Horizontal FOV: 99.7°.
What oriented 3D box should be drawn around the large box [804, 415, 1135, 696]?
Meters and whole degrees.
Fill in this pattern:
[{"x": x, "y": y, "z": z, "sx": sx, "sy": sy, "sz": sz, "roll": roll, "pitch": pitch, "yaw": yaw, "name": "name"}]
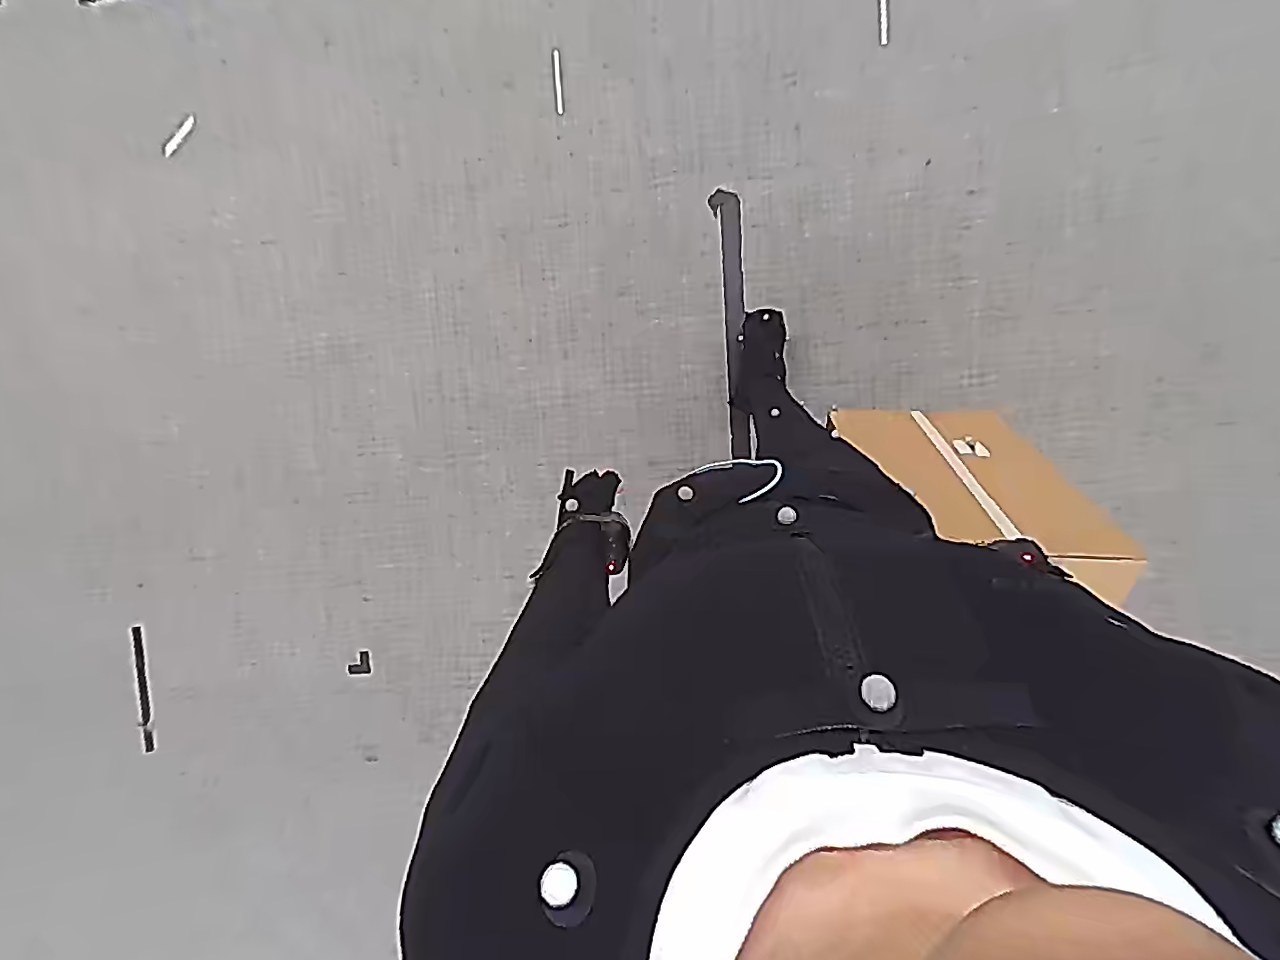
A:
[{"x": 0.503, "y": 0.114, "z": 0.950, "sx": 0.320, "sy": 0.408, "sz": 0.320, "roll": 2, "pitch": 122, "yaw": 2, "name": "large box"}]
